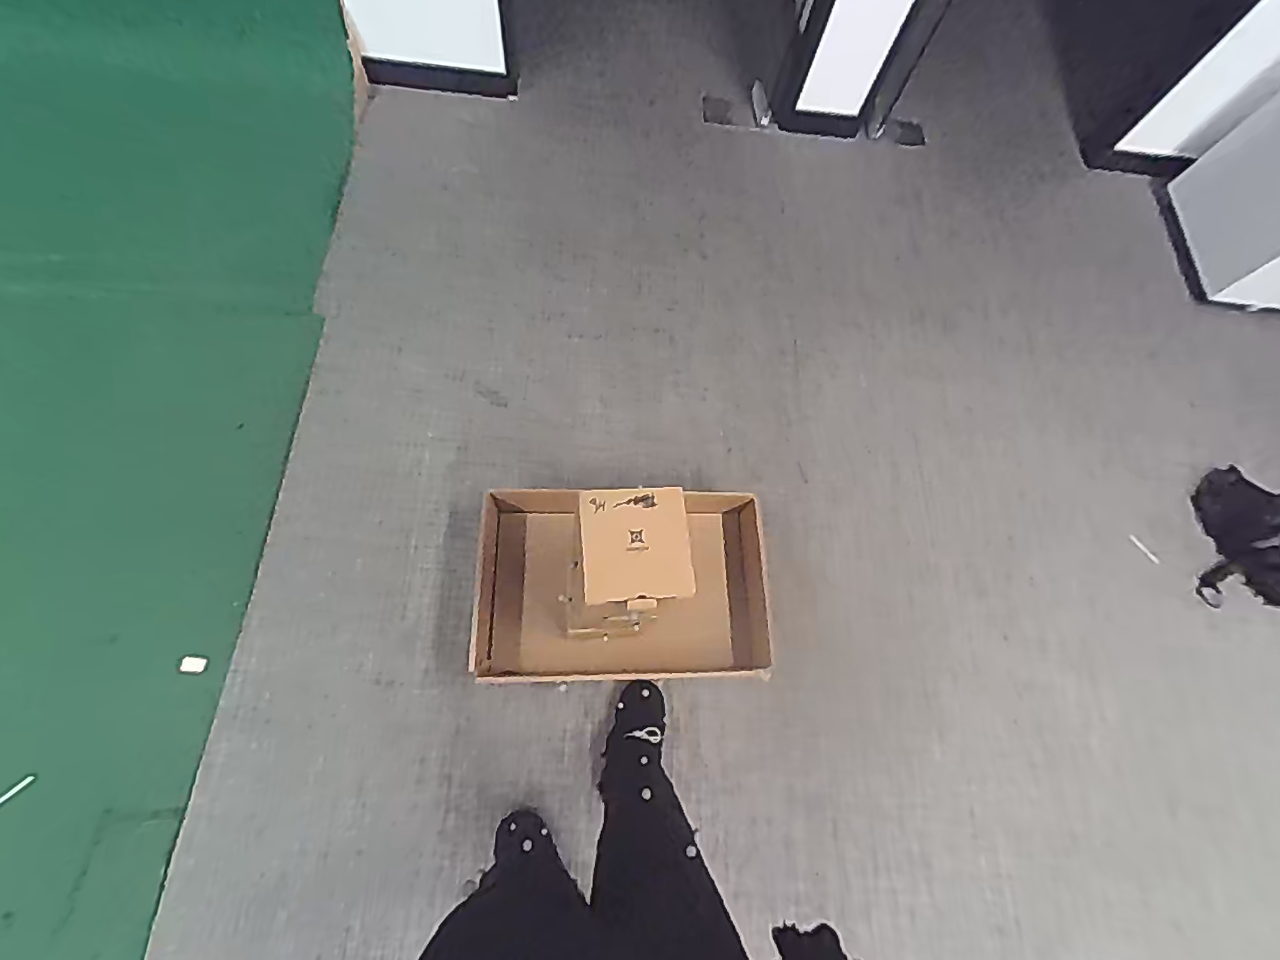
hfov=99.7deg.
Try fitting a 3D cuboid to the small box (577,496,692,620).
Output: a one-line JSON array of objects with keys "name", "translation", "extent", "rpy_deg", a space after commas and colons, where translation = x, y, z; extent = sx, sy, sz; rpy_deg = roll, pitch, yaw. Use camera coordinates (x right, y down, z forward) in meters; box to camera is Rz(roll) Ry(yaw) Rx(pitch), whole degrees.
[{"name": "small box", "translation": [-0.017, 0.134, 0.886], "extent": [0.168, 0.176, 0.179], "rpy_deg": [-1, 69, -9]}]

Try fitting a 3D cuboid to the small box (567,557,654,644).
[{"name": "small box", "translation": [-0.069, 0.264, 1.179], "extent": [0.179, 0.176, 0.168], "rpy_deg": [-1, 68, -6]}]

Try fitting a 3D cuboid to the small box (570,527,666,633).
[{"name": "small box", "translation": [-0.047, 0.198, 1.034], "extent": [0.168, 0.176, 0.179], "rpy_deg": [2, 67, -9]}]
